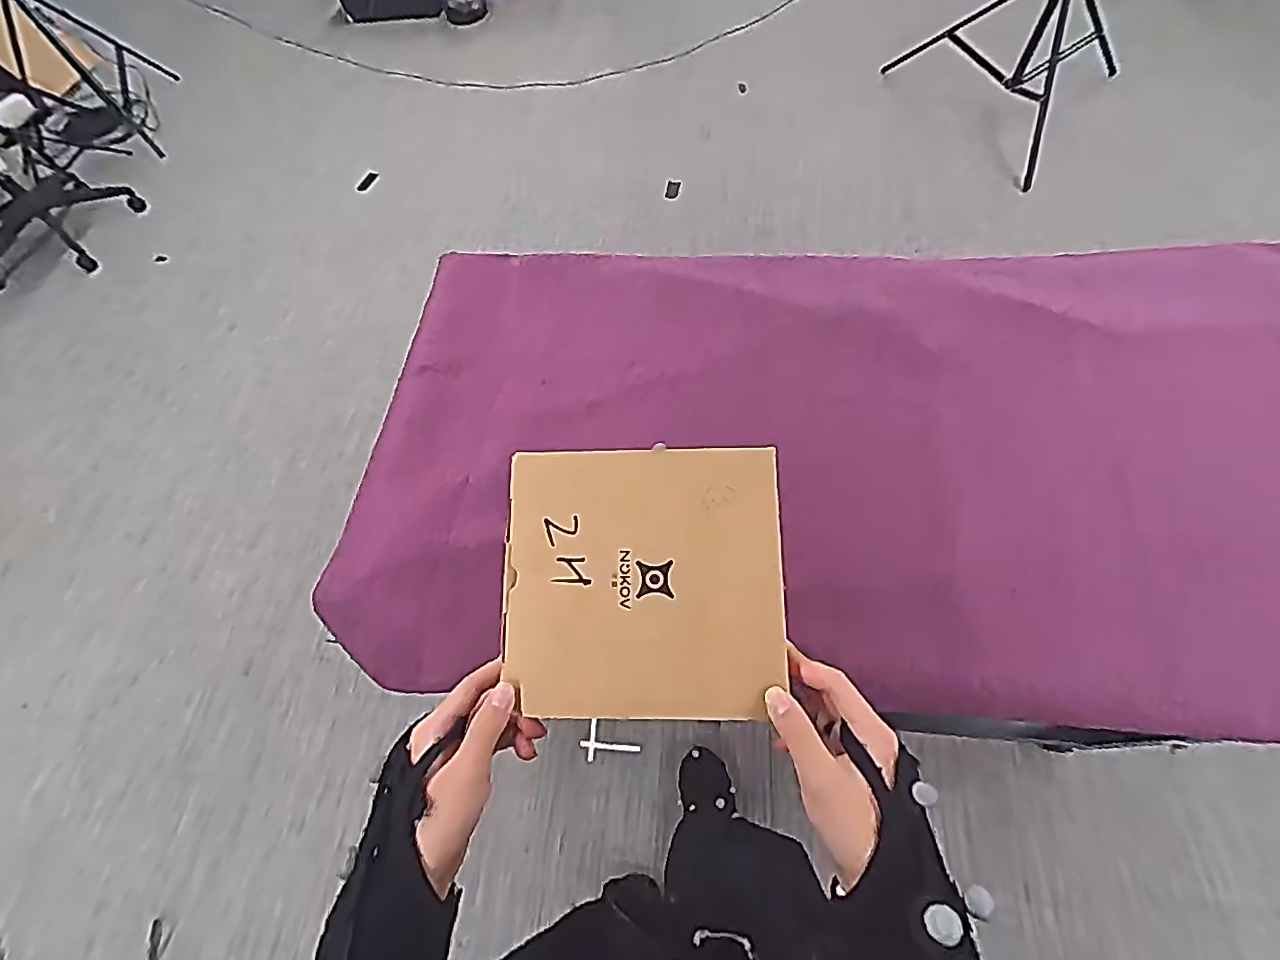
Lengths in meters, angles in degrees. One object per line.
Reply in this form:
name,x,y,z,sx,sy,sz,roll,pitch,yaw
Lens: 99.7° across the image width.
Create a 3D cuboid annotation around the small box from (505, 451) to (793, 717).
small box,0.010,0.078,0.419,0.179,0.176,0.168,-1,76,5
